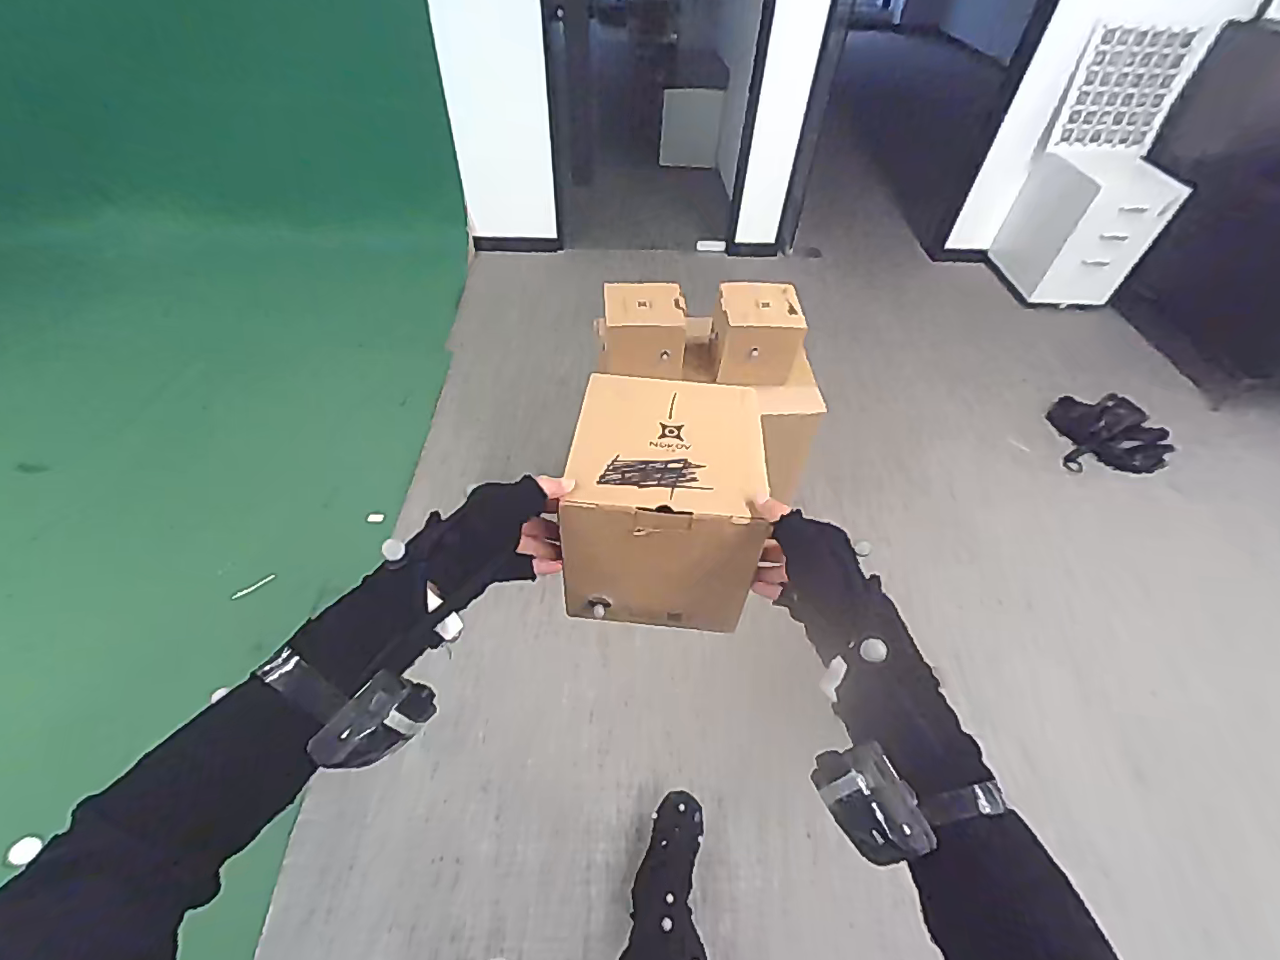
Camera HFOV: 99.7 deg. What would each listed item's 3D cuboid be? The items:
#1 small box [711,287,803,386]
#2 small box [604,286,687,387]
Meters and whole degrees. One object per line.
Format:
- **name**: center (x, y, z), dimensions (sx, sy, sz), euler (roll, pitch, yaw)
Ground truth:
- **small box**: center (0.266, -0.339, 1.285), dimensions (0.179, 0.176, 0.168), euler (-1, 53, -3)
- **small box**: center (0.005, -0.334, 1.266), dimensions (0.179, 0.176, 0.168), euler (-3, 52, -4)
